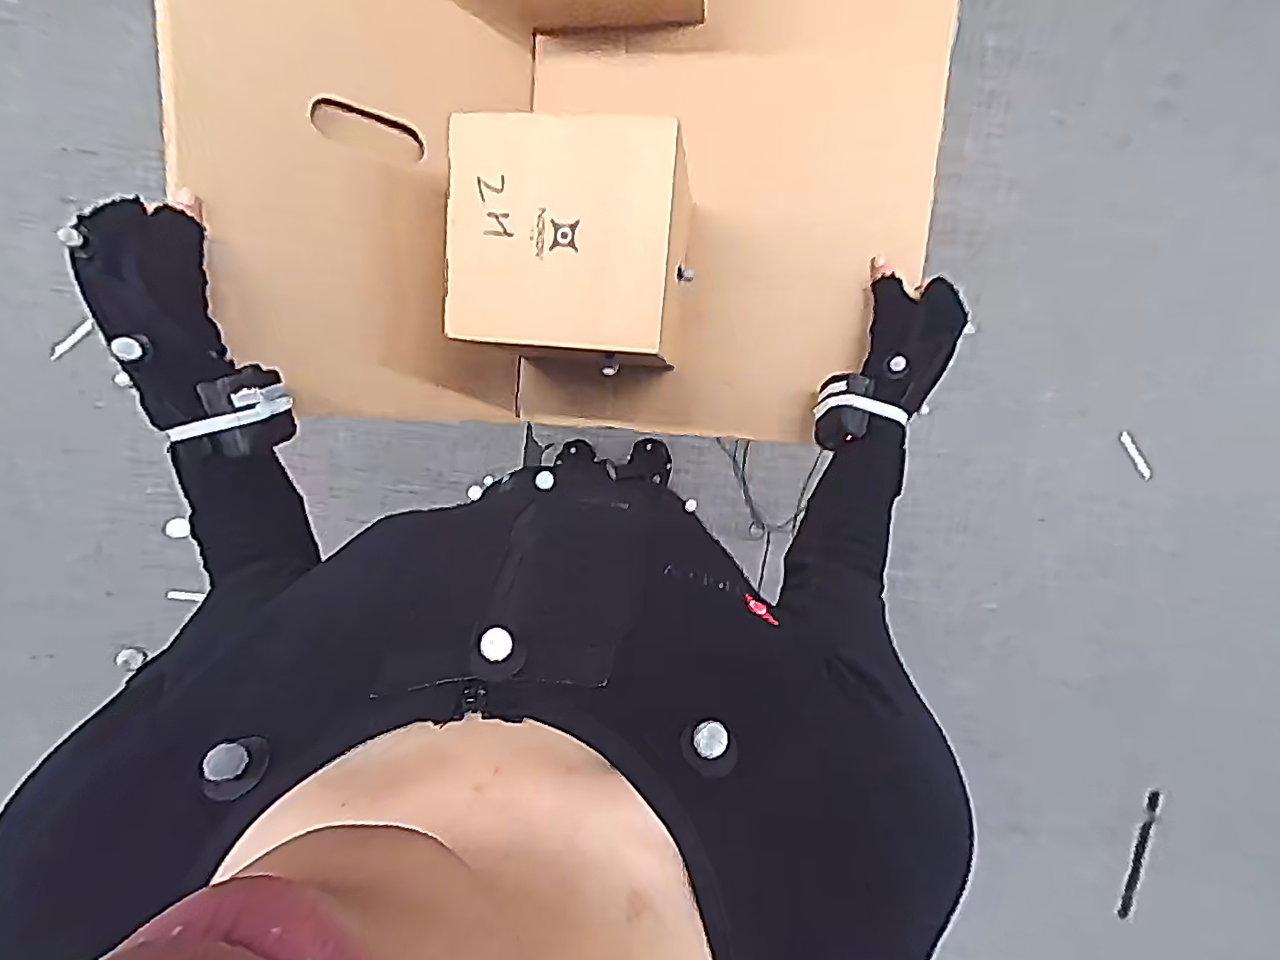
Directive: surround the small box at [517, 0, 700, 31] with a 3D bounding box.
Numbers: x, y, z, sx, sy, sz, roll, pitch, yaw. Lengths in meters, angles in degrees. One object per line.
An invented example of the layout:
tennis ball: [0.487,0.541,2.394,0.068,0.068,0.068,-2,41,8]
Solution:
small box: [-0.037,-0.517,0.449,0.179,0.176,0.168,3,98,8]
